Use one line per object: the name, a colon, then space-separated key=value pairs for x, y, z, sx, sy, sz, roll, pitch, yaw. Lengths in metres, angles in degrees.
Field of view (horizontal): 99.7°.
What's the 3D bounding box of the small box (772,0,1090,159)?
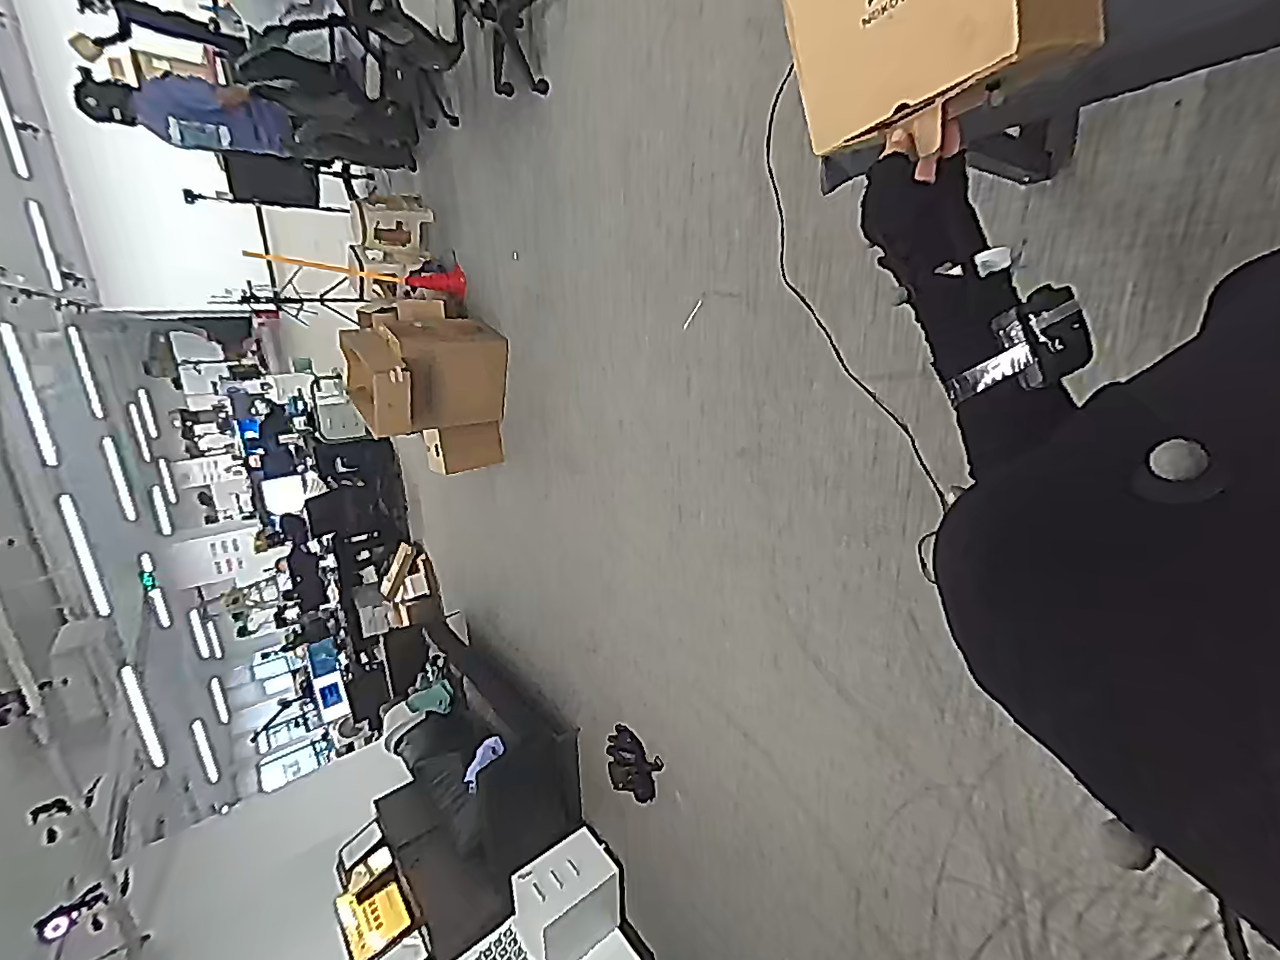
small box: x=0.231 y=-0.396 z=0.436 sx=0.168 sy=0.176 sz=0.179 roll=5 pitch=119 yaw=55
